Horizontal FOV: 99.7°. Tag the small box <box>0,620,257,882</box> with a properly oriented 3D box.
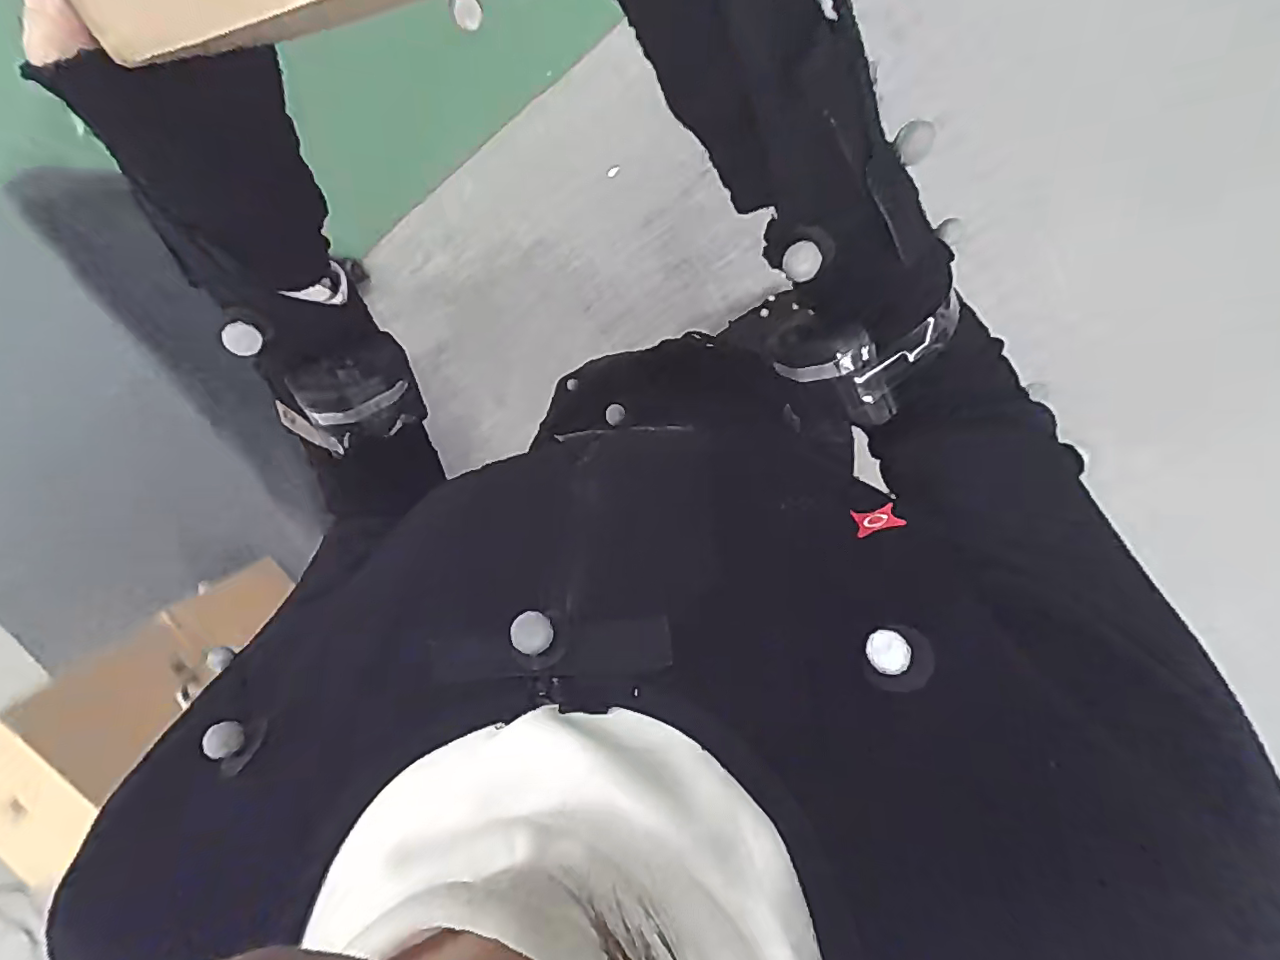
[{"bbox_3d":[-0.598,0.297,0.617,0.179,0.176,0.168,-35,101,16],"label":"small box"}]

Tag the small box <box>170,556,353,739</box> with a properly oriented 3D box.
[{"bbox_3d":[-0.566,0.242,0.784,0.168,0.176,0.179,-33,99,16],"label":"small box"}]
